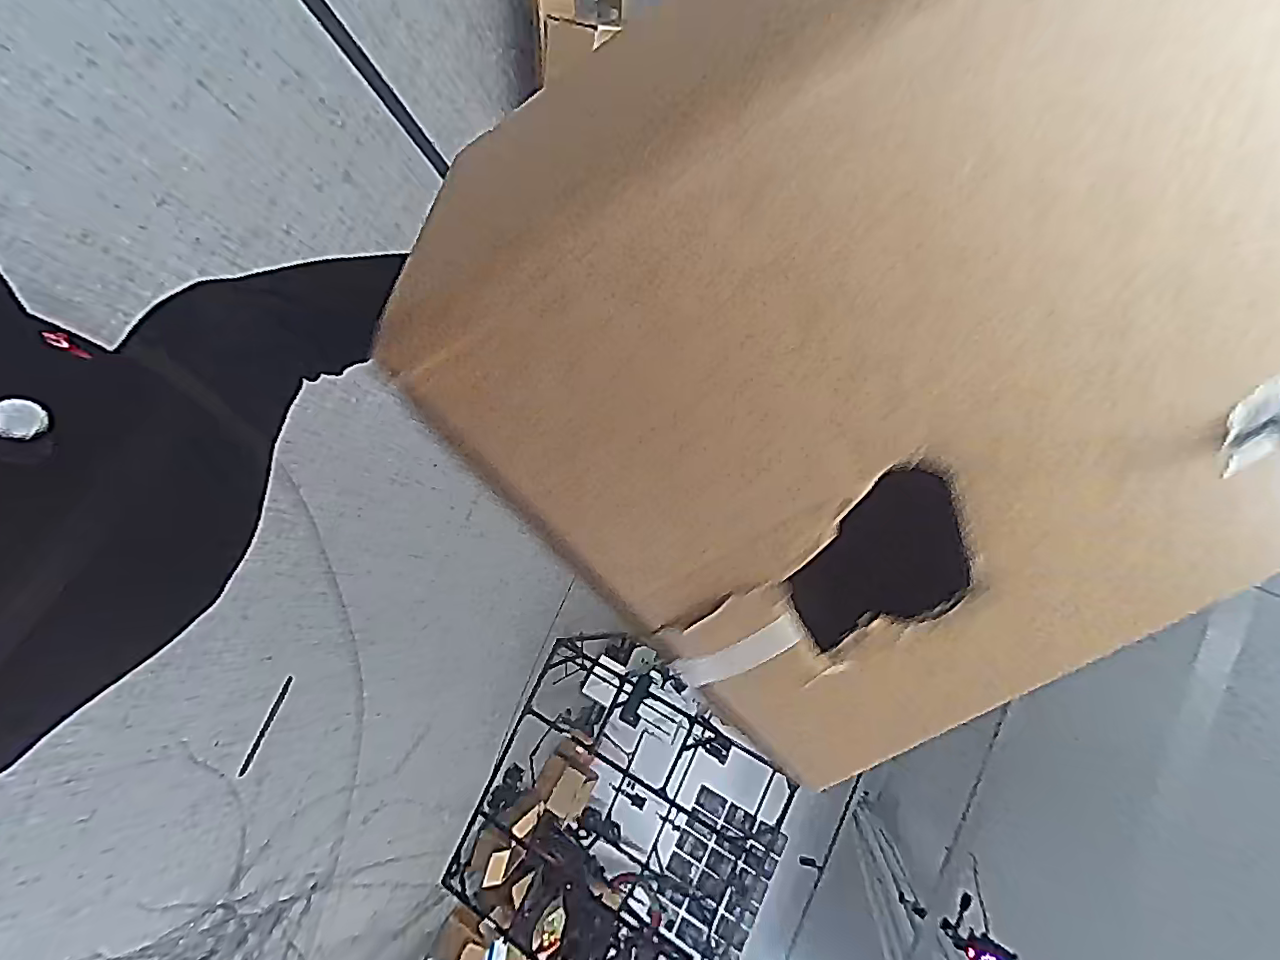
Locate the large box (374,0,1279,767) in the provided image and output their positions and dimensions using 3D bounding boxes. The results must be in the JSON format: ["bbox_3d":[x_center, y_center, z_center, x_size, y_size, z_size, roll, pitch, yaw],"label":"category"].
[{"bbox_3d":[0.101,-0.119,0.348,0.320,0.408,0.320,-29,128,9],"label":"large box"}]
